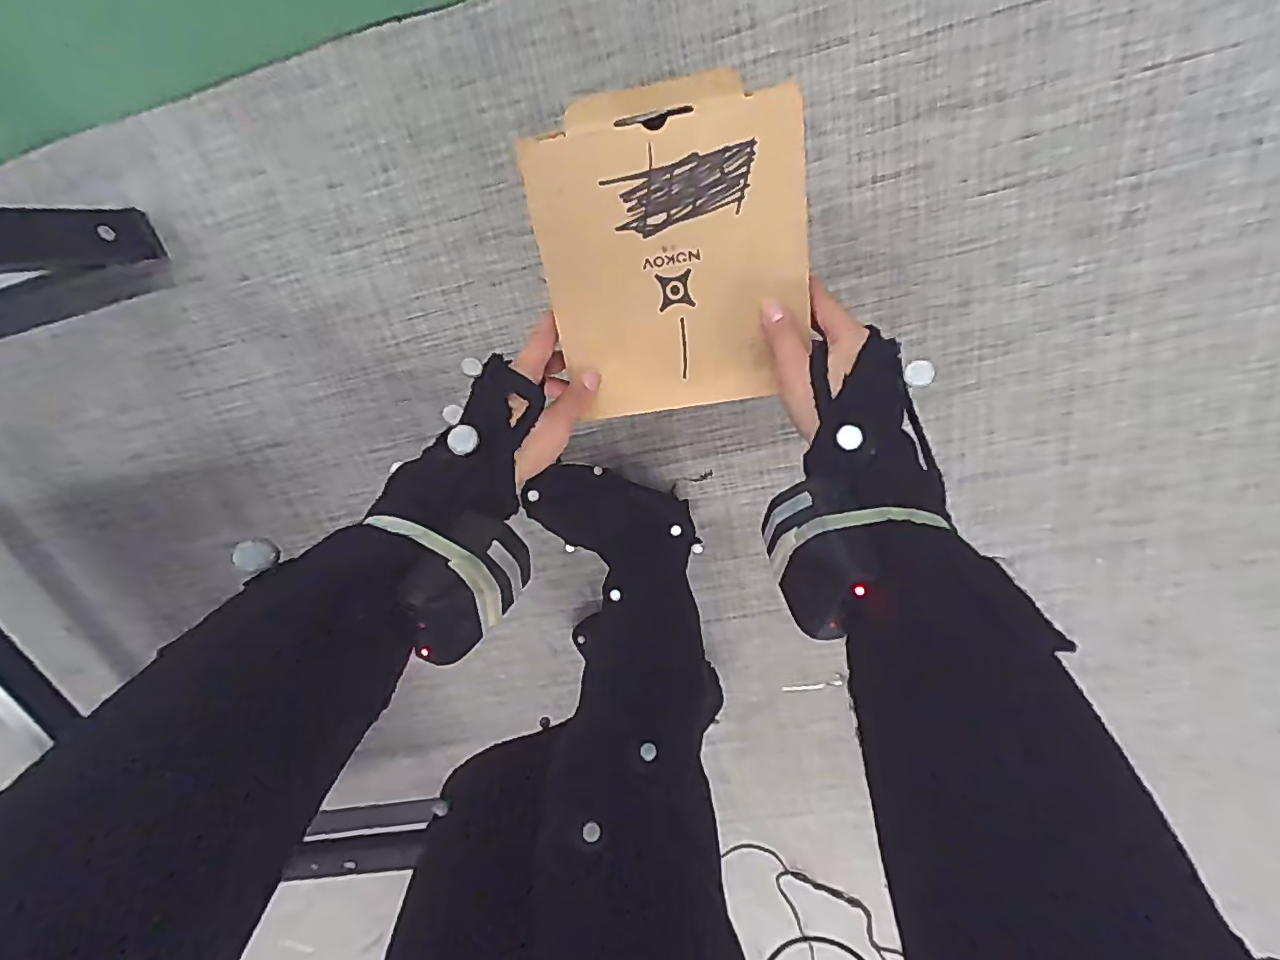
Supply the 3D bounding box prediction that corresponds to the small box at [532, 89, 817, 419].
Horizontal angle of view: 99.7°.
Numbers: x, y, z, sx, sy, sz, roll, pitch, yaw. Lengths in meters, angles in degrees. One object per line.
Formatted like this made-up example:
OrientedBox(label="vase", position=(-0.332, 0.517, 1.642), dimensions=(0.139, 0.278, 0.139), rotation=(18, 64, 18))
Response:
OrientedBox(label="small box", position=(0.032, -0.163, 0.416), dimensions=(0.168, 0.176, 0.179), rotation=(-7, 114, 8))
